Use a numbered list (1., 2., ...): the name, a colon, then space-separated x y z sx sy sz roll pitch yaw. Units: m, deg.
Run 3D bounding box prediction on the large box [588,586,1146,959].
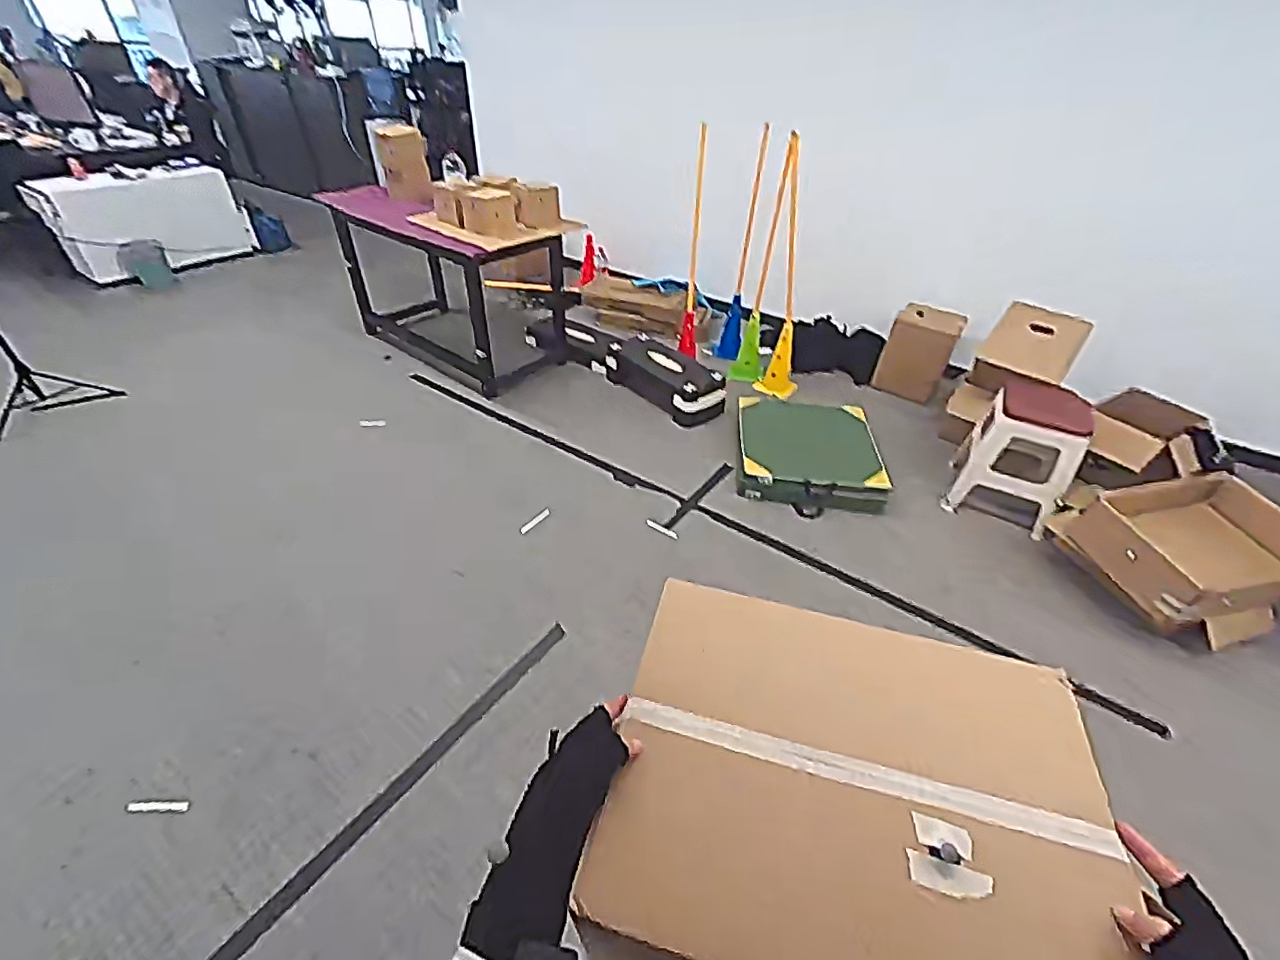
1. large box: 0.186 0.365 0.575 0.408 0.320 0.320 12 44 12
